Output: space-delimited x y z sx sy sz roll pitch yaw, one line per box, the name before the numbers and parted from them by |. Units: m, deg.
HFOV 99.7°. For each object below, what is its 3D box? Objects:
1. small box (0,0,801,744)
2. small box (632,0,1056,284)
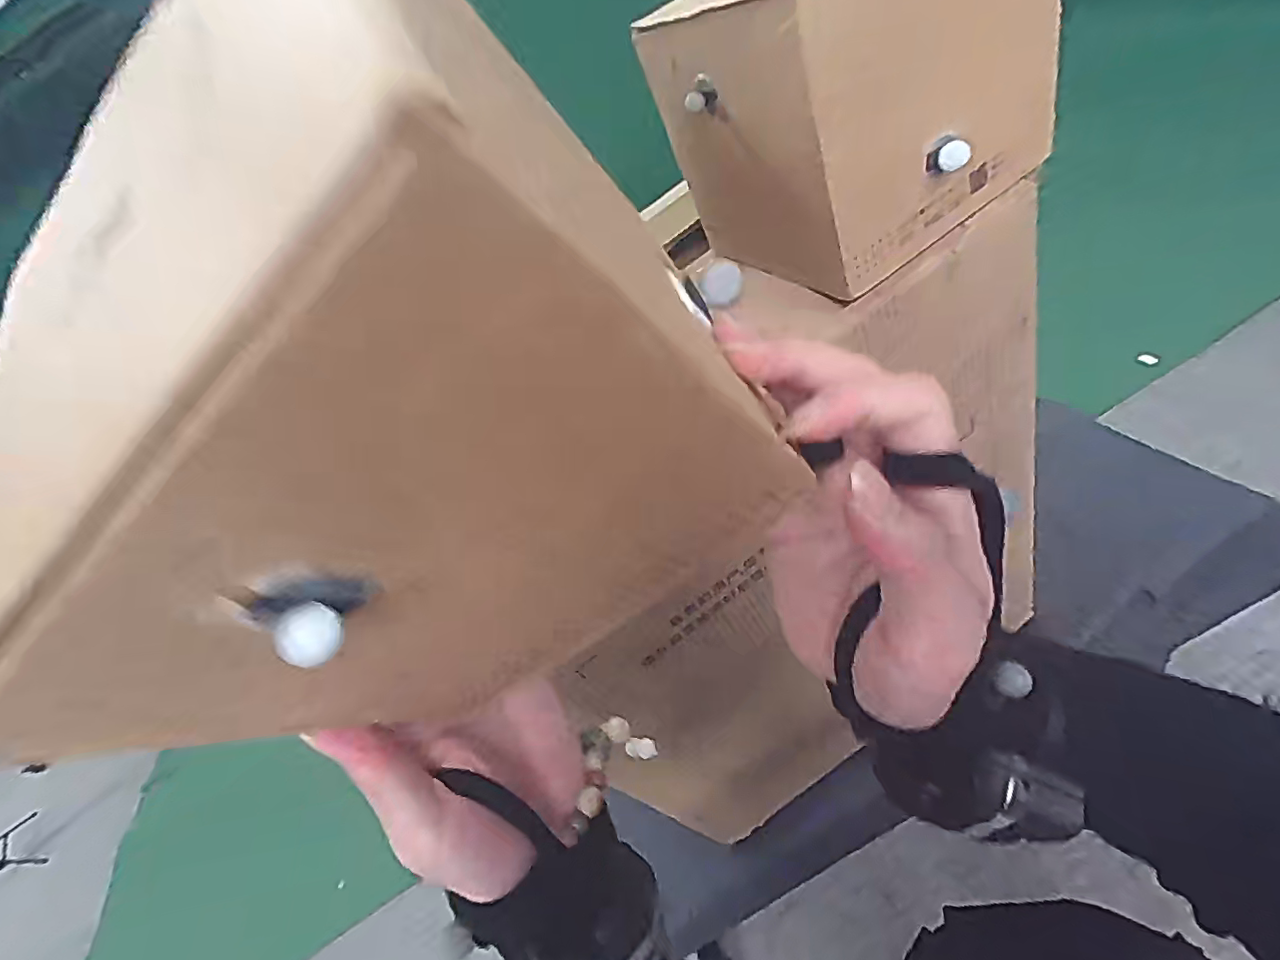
small box | -0.074 -0.031 0.189 0.179 0.176 0.168 -36 60 18
small box | 0.126 -0.256 0.352 0.168 0.176 0.179 -36 42 -1
